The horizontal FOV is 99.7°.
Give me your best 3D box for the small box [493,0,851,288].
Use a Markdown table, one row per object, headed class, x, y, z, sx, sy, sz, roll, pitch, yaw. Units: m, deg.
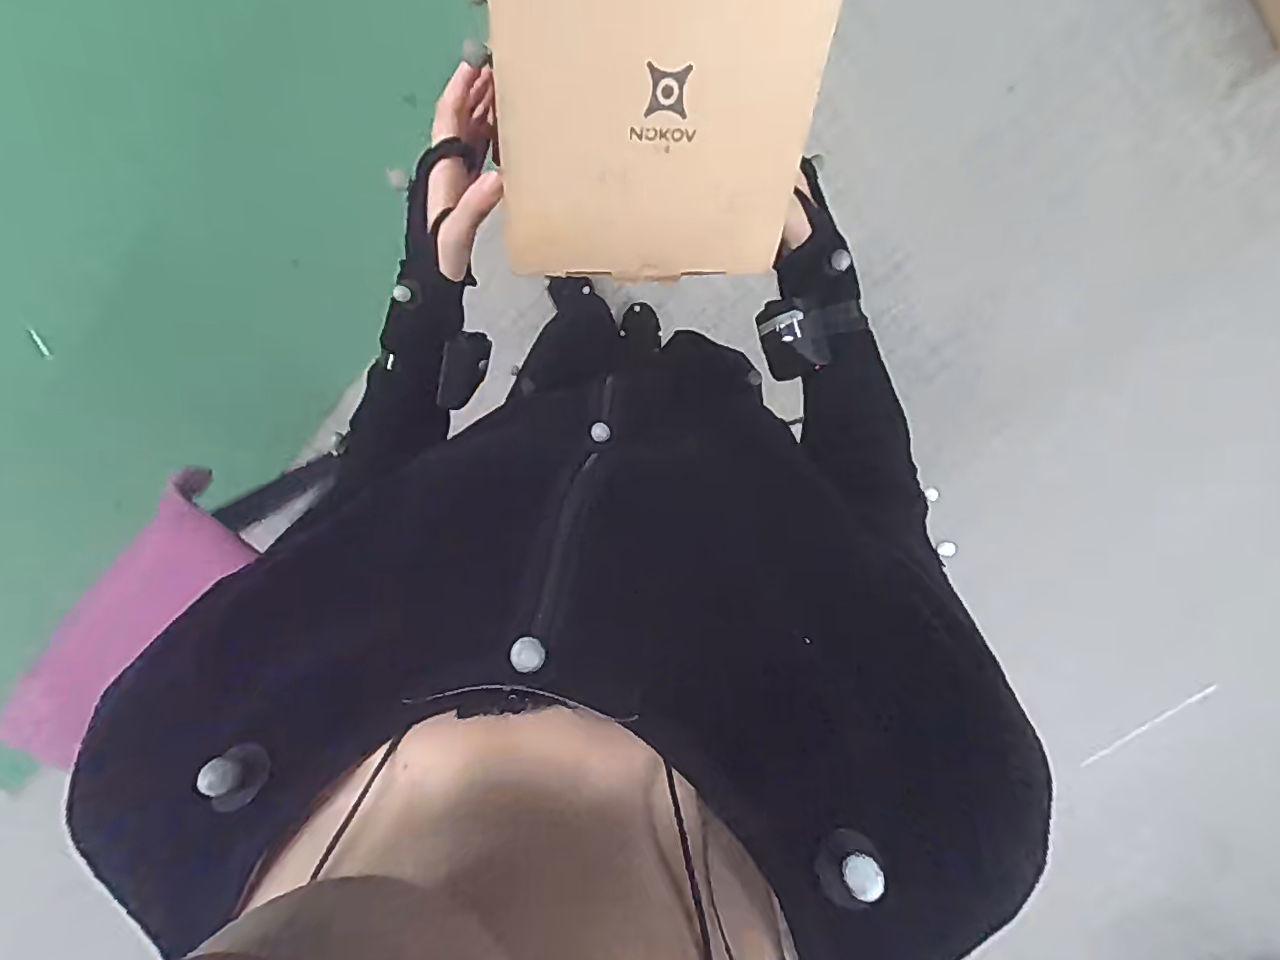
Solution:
| class | x | y | z | sx | sy | sz | roll | pitch | yaw |
| --- | --- | --- | --- | --- | --- | --- | --- | --- | --- |
| small box | -0.002 | -0.240 | 0.332 | 0.168 | 0.176 | 0.179 | -4 | 137 | -12 |
